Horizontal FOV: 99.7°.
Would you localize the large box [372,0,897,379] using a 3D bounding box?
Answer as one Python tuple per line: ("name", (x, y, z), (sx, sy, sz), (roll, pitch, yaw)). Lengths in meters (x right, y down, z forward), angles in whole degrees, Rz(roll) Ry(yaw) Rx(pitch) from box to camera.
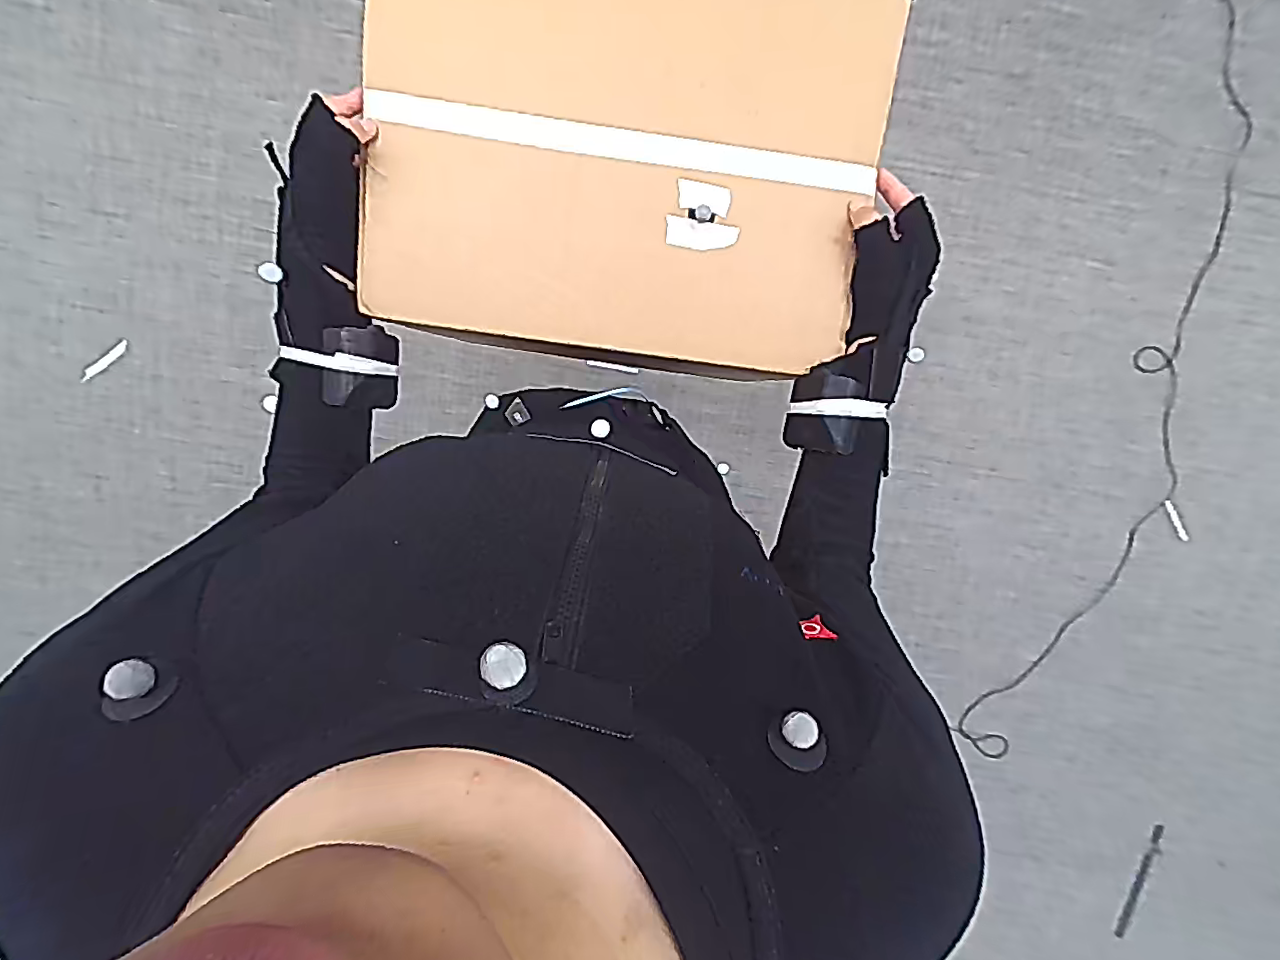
("large box", (-0.019, -0.288, 0.584), (0.408, 0.320, 0.320), (7, 101, -4))
